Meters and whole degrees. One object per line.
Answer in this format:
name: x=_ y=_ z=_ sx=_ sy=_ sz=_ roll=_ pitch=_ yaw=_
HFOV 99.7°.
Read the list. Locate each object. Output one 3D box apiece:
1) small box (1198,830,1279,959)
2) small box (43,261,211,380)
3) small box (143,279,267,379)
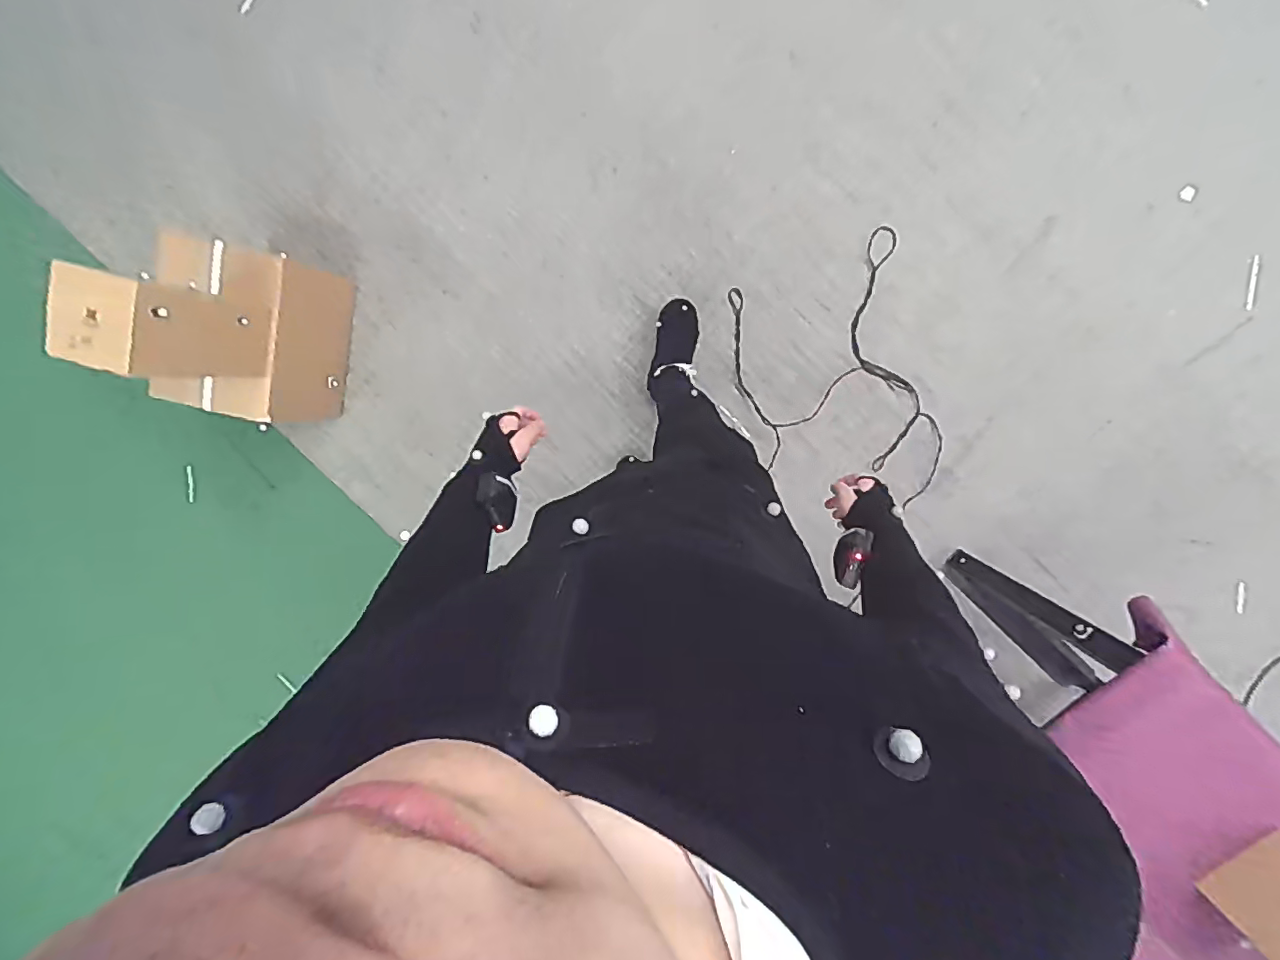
small box: x=1.072 y=0.707 z=0.853 sx=0.168 sy=0.176 sz=0.179 roll=44 pitch=100 yaw=-4
small box: x=-0.987 y=-0.301 z=1.054 sx=0.168 sy=0.176 sz=0.179 roll=15 pitch=101 yaw=1
small box: x=-0.978 y=-0.330 z=1.216 sx=0.168 sy=0.176 sz=0.179 roll=13 pitch=101 yaw=1
